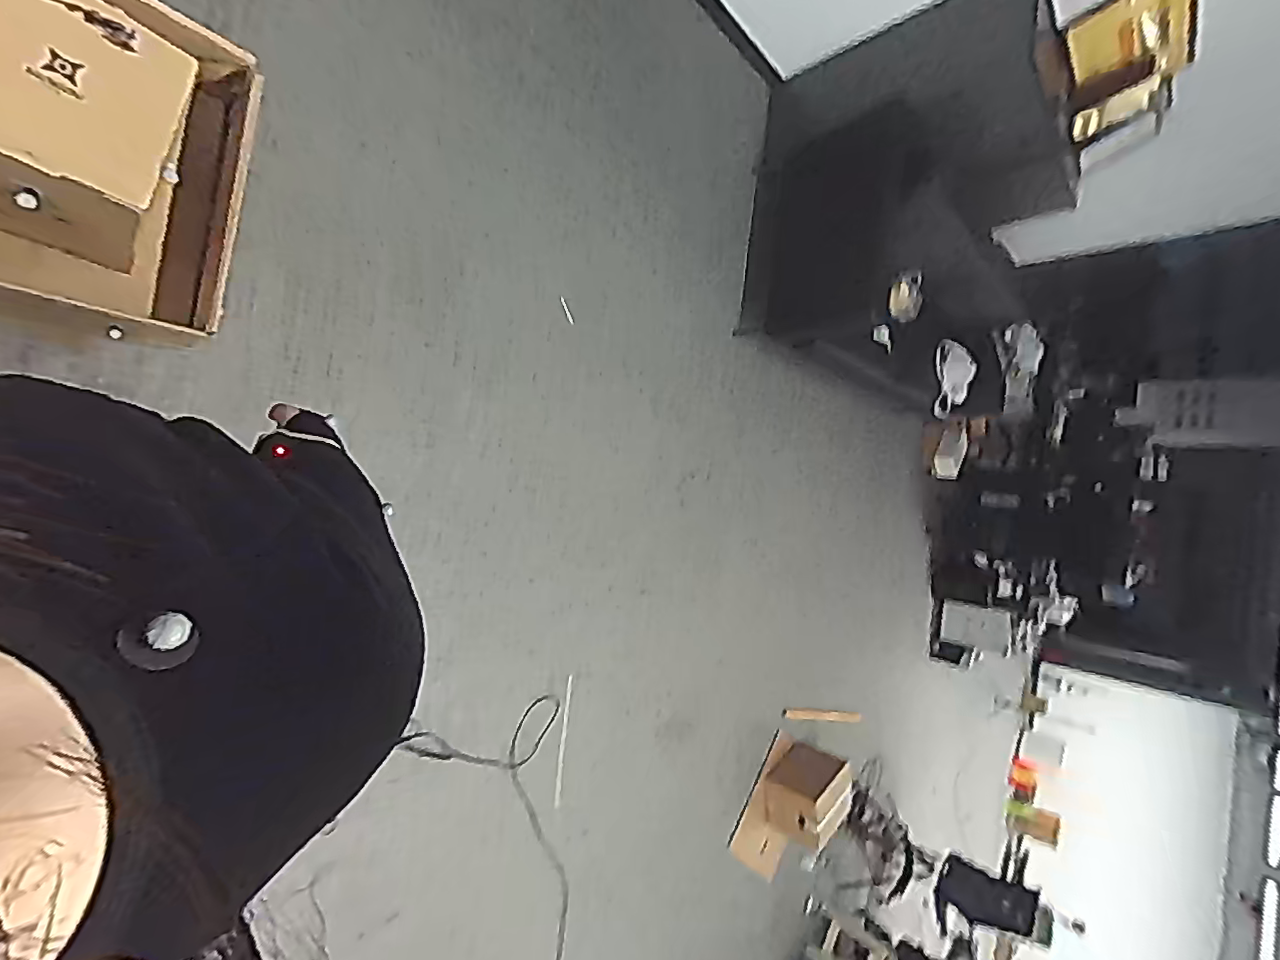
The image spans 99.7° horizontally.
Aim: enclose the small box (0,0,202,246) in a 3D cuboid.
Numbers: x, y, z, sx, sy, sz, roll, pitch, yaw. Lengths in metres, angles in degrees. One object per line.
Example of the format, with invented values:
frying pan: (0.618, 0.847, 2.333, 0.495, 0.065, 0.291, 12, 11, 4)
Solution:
small box: (-0.578, -0.368, 0.547, 0.168, 0.176, 0.179, 19, 81, -44)
